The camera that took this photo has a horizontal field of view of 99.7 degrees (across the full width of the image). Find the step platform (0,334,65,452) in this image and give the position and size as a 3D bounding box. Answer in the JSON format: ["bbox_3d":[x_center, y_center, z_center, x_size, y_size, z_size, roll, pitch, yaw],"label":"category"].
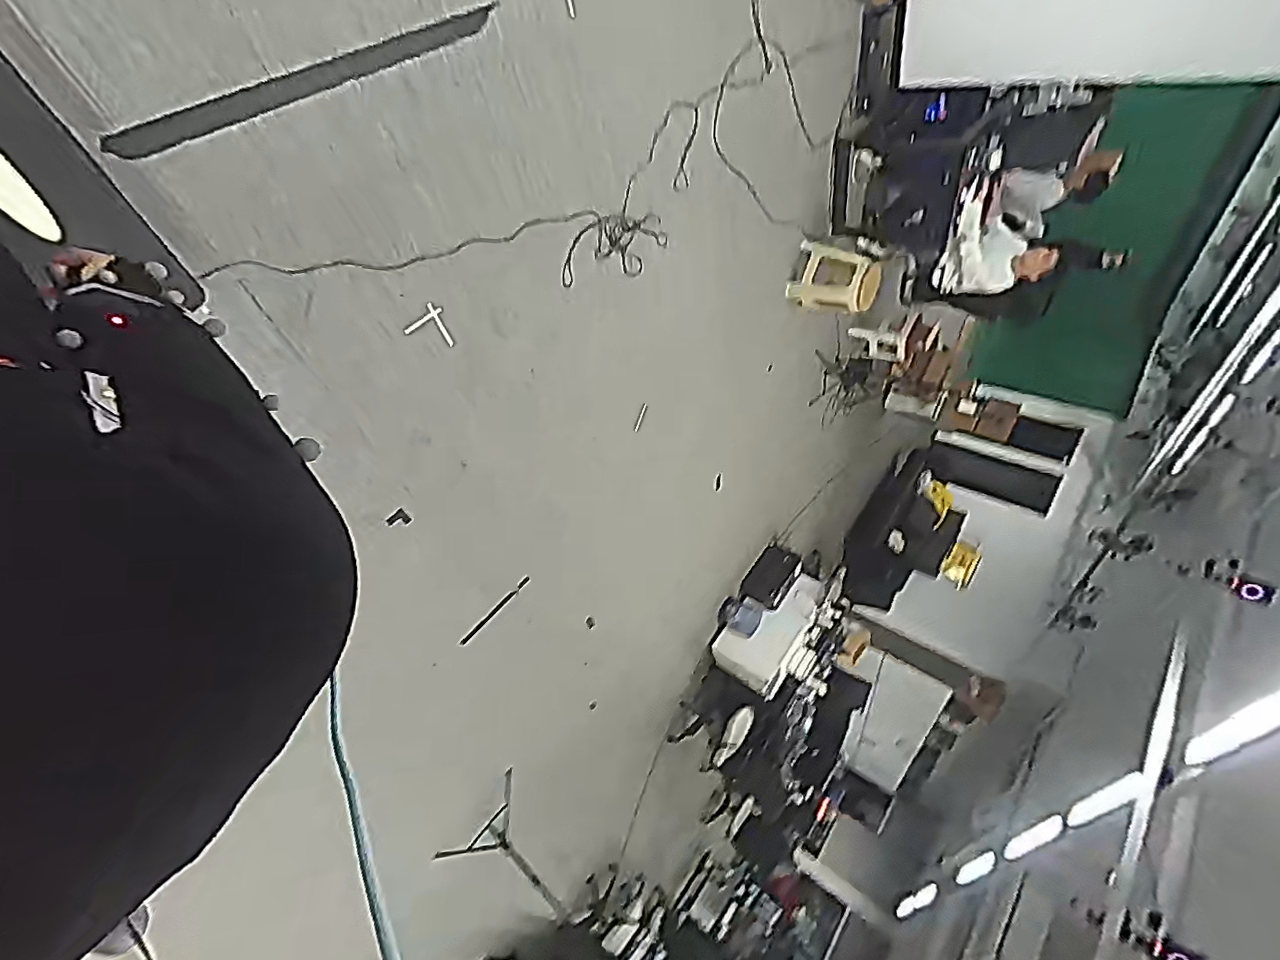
[{"bbox_3d":[-1.250,-0.306,0.765,0.286,0.204,0.684,-45,140,-30],"label":"step platform"}]
